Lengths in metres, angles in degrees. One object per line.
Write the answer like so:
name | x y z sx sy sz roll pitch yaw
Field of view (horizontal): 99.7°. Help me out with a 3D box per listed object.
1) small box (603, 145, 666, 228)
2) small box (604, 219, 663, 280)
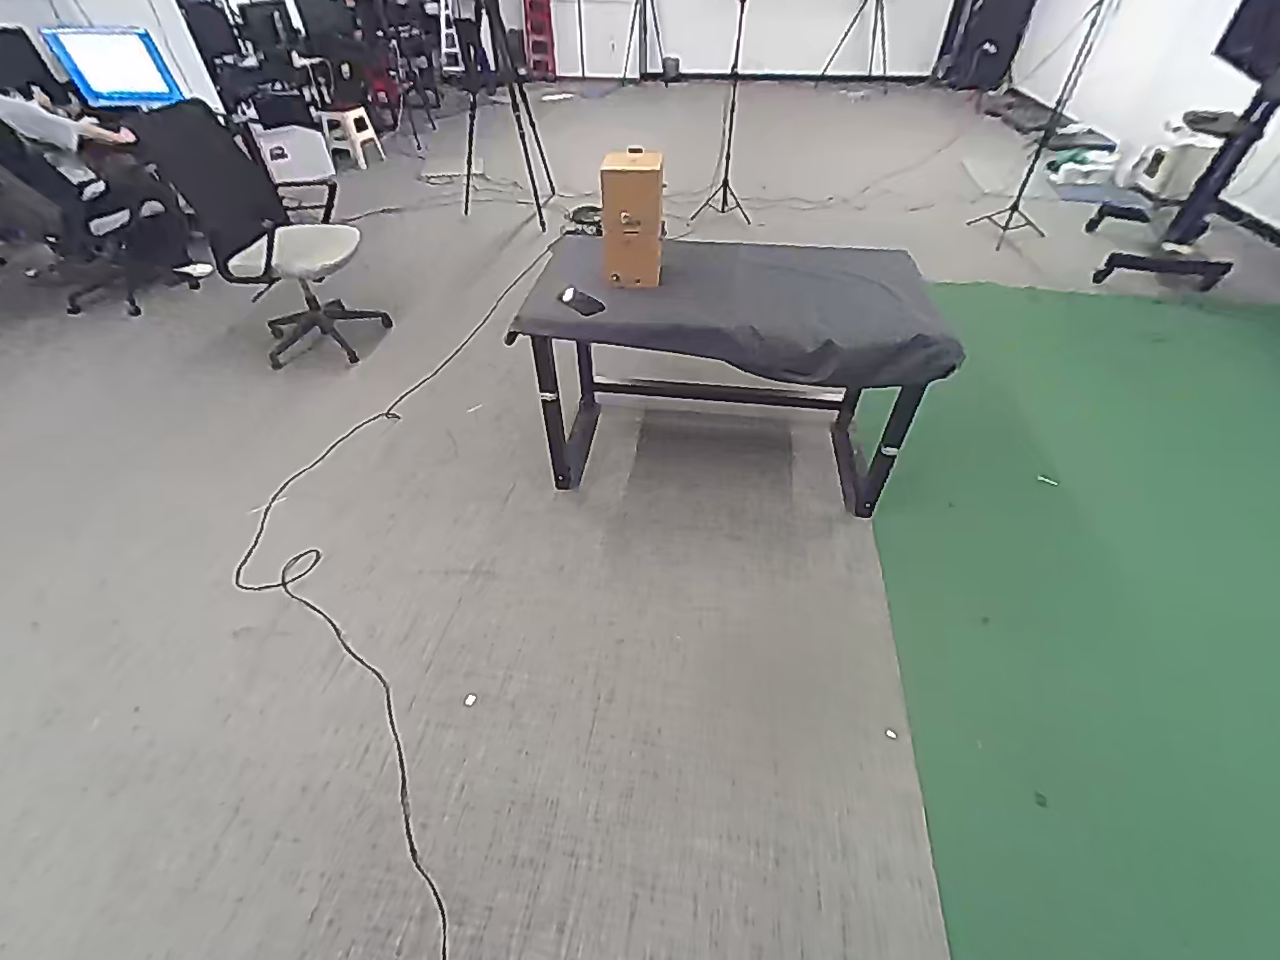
small box | -0.012 -0.851 1.568 0.168 0.176 0.179 2 46 3
small box | -0.016 -0.737 1.682 0.168 0.176 0.179 4 44 3
